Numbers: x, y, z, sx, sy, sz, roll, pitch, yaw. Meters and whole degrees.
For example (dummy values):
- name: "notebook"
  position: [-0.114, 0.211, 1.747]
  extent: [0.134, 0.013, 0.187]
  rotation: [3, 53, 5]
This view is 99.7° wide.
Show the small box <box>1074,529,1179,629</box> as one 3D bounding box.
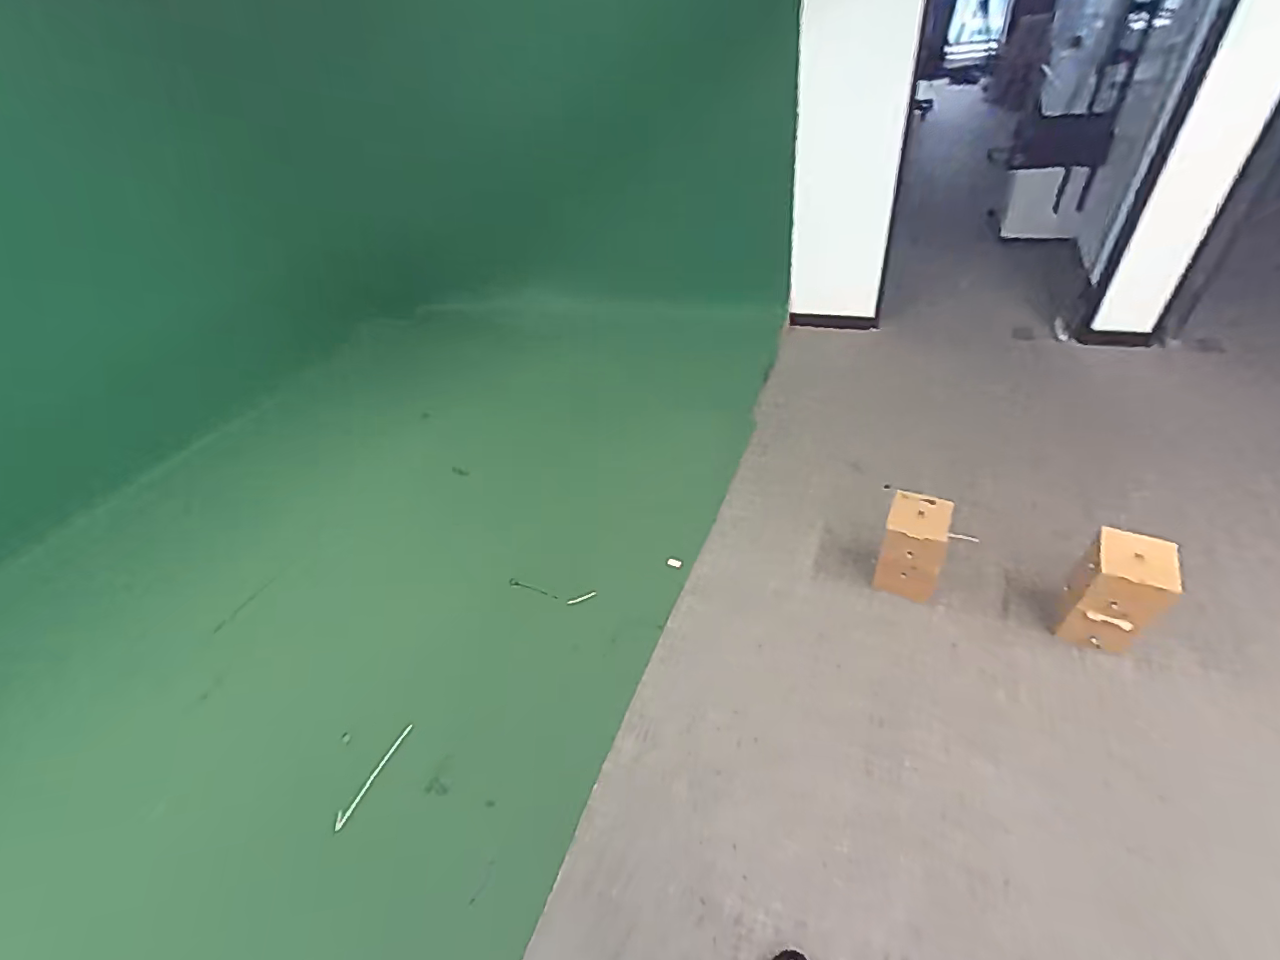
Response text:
- name: "small box"
  position: [1.326, 0.272, 1.484]
  extent: [0.168, 0.176, 0.179]
  rotation: [17, 50, 26]

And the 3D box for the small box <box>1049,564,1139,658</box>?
- name: "small box"
  position: [1.341, 0.387, 1.595]
  extent: [0.168, 0.176, 0.179]
  rotation: [20, 52, 32]

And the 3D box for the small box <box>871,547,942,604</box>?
- name: "small box"
  position: [0.886, 0.286, 1.803]
  extent: [0.179, 0.176, 0.168]
  rotation: [16, 50, 26]

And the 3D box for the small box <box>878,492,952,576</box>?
- name: "small box"
  position: [0.855, 0.171, 1.692]
  extent: [0.168, 0.176, 0.179]
  rotation: [15, 51, 26]
